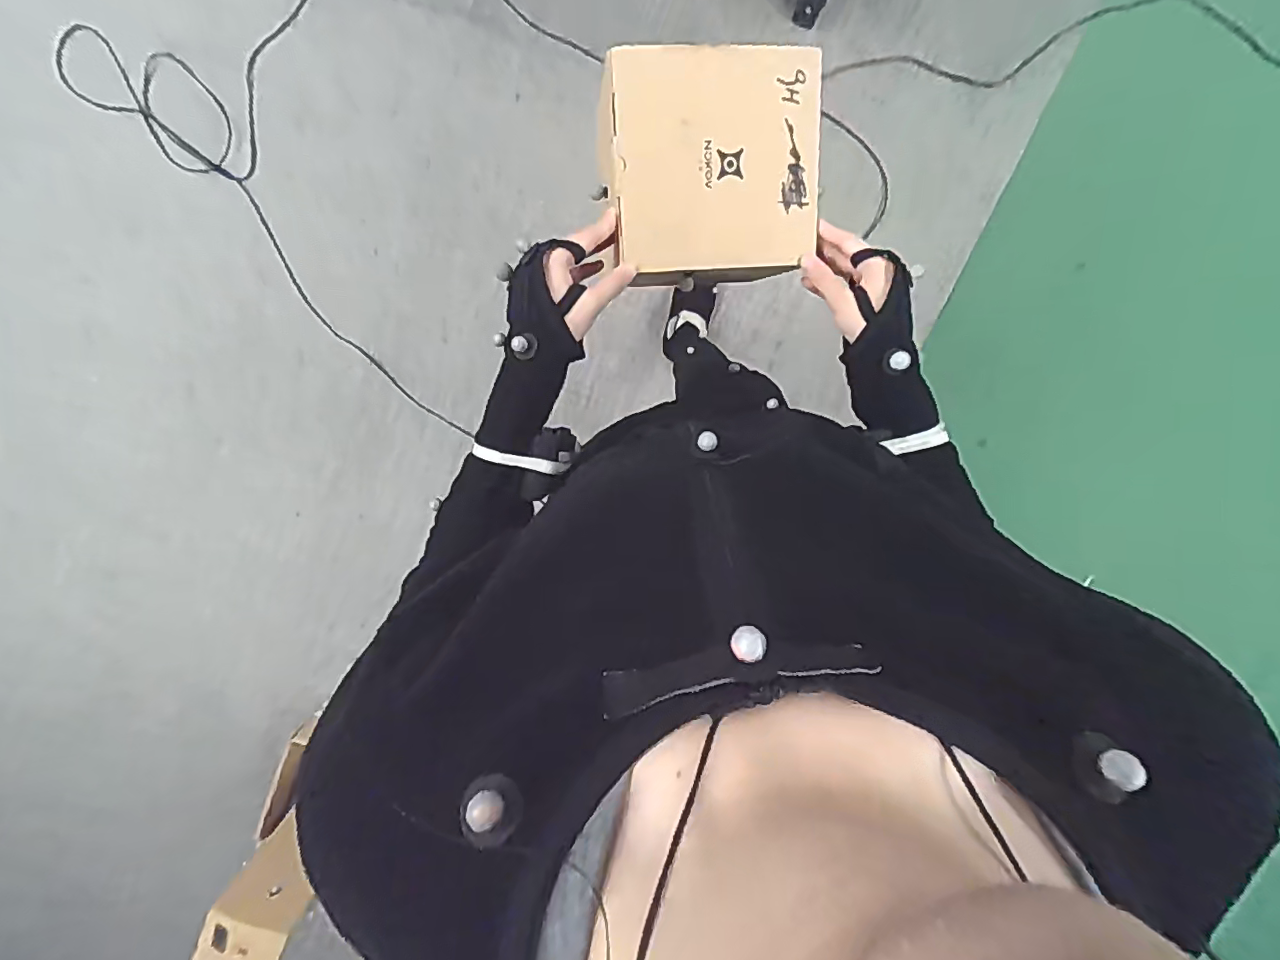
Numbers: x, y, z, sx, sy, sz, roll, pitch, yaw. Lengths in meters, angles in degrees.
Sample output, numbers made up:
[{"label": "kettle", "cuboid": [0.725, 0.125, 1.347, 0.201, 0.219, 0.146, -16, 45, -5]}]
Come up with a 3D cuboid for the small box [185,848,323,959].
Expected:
[{"label": "small box", "cuboid": [-0.882, 1.001, 1.248, 0.179, 0.176, 0.168, 24, 101, -6]}]

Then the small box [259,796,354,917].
[{"label": "small box", "cuboid": [-0.881, 0.972, 1.409, 0.168, 0.176, 0.179, 24, 101, -5]}]
